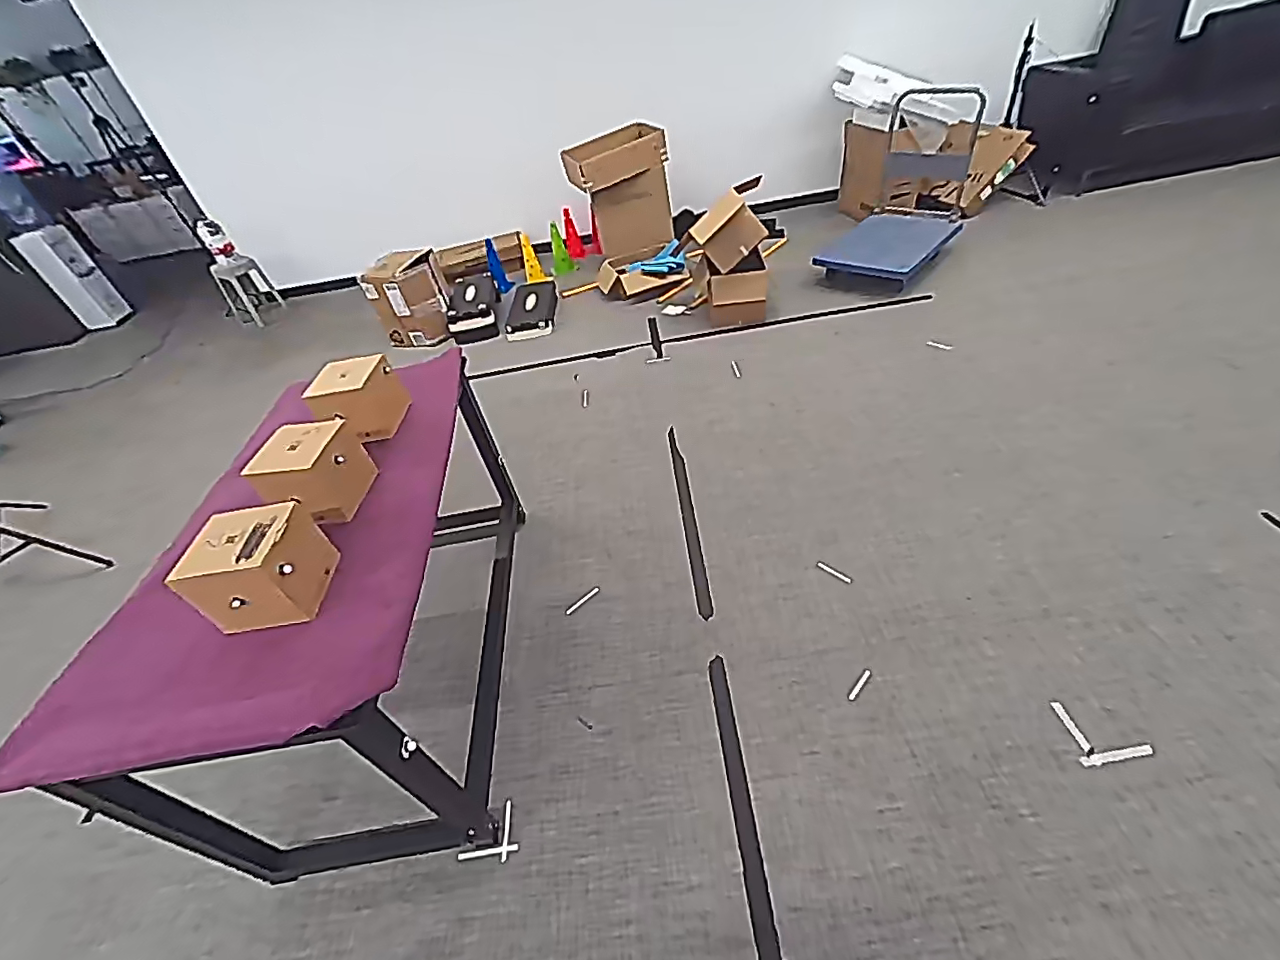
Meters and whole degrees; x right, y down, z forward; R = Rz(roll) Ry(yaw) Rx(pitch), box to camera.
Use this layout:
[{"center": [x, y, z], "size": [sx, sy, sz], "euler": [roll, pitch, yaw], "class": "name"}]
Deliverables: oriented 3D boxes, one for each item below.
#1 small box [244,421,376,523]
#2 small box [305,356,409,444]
[{"center": [-0.745, -0.013, 1.248], "size": [0.168, 0.176, 0.179], "euler": [-4, 41, 7], "class": "small box"}, {"center": [-0.758, -0.211, 1.473], "size": [0.168, 0.176, 0.179], "euler": [-9, 41, 5], "class": "small box"}]
